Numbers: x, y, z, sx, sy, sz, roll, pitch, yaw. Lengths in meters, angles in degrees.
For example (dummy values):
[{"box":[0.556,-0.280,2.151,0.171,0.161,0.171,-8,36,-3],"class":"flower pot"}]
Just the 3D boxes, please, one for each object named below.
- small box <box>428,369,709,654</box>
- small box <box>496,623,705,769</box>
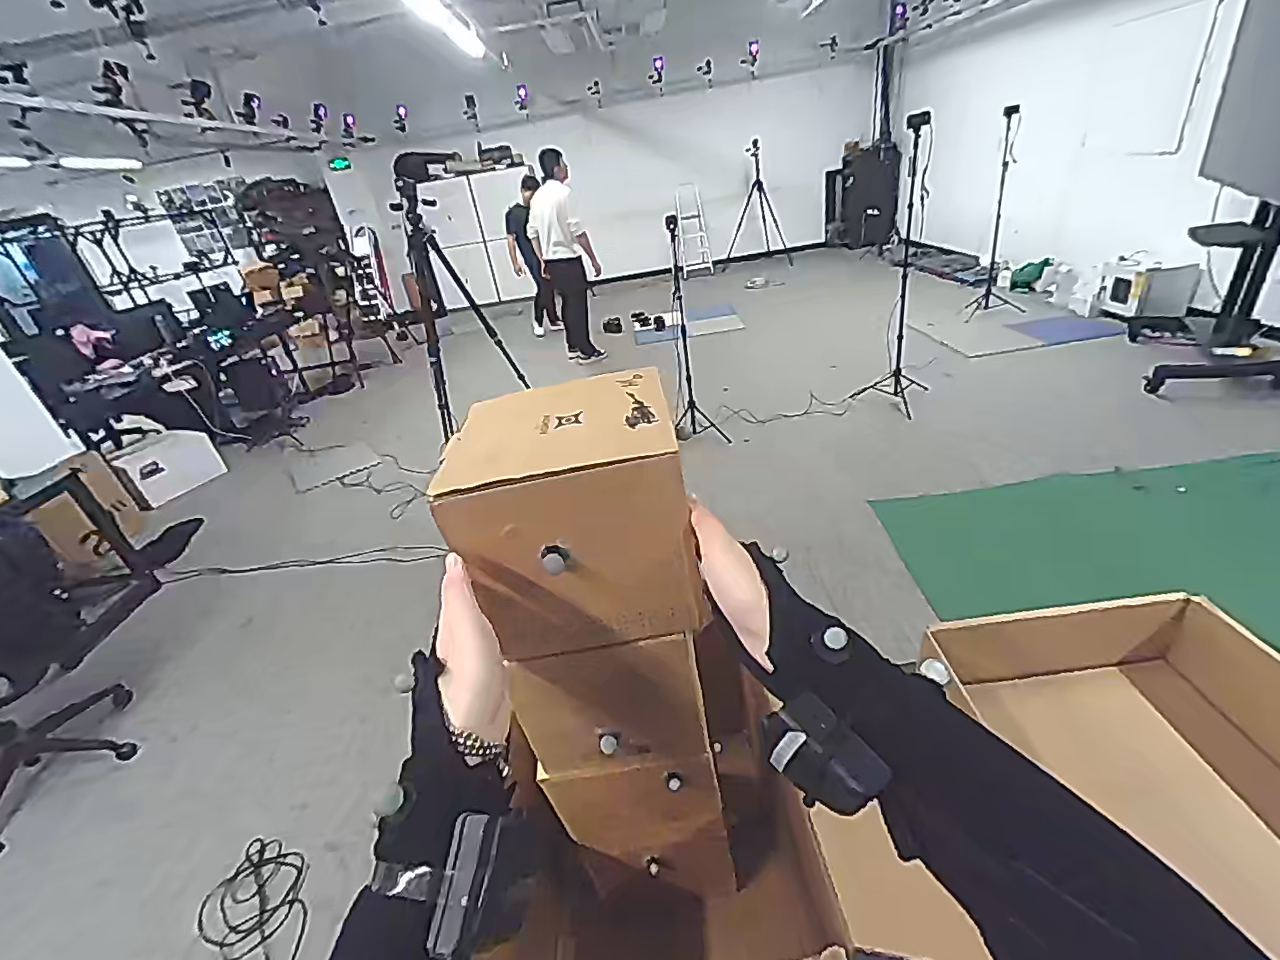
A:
[{"box":[-0.048,0.026,0.467,0.179,0.176,0.168,-11,32,2],"class":"small box"},{"box":[-0.031,0.164,0.561,0.168,0.176,0.179,-10,33,4],"class":"small box"}]
